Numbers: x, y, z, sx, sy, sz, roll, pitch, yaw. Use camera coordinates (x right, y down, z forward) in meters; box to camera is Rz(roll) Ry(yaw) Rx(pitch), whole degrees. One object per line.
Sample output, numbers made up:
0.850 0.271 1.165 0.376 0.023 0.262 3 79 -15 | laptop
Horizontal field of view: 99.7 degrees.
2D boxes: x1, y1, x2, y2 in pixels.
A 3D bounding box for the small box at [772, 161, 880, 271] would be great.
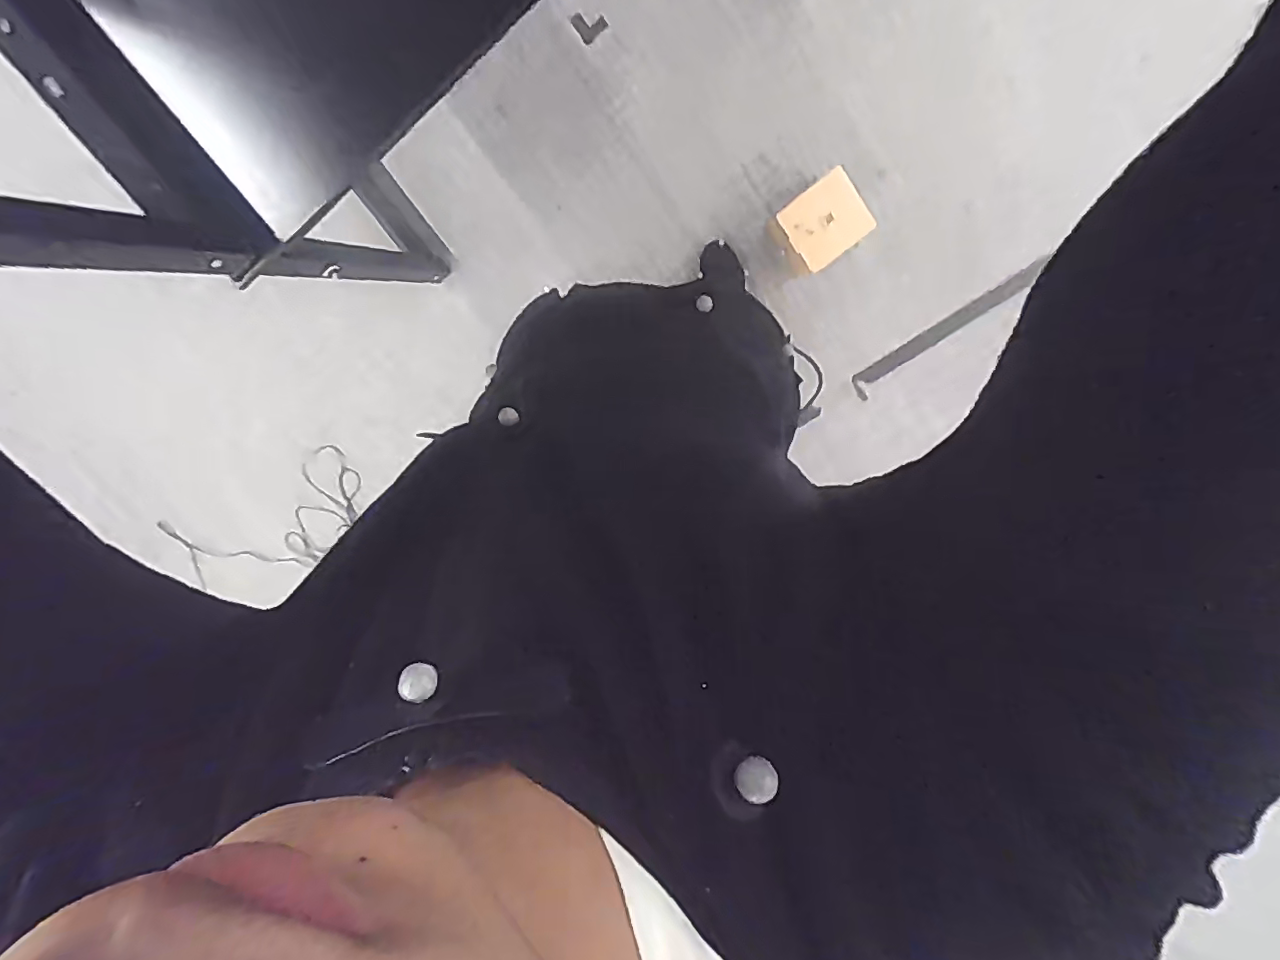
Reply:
0.445 -0.634 1.323 0.179 0.176 0.168 -36 102 16 | small box
